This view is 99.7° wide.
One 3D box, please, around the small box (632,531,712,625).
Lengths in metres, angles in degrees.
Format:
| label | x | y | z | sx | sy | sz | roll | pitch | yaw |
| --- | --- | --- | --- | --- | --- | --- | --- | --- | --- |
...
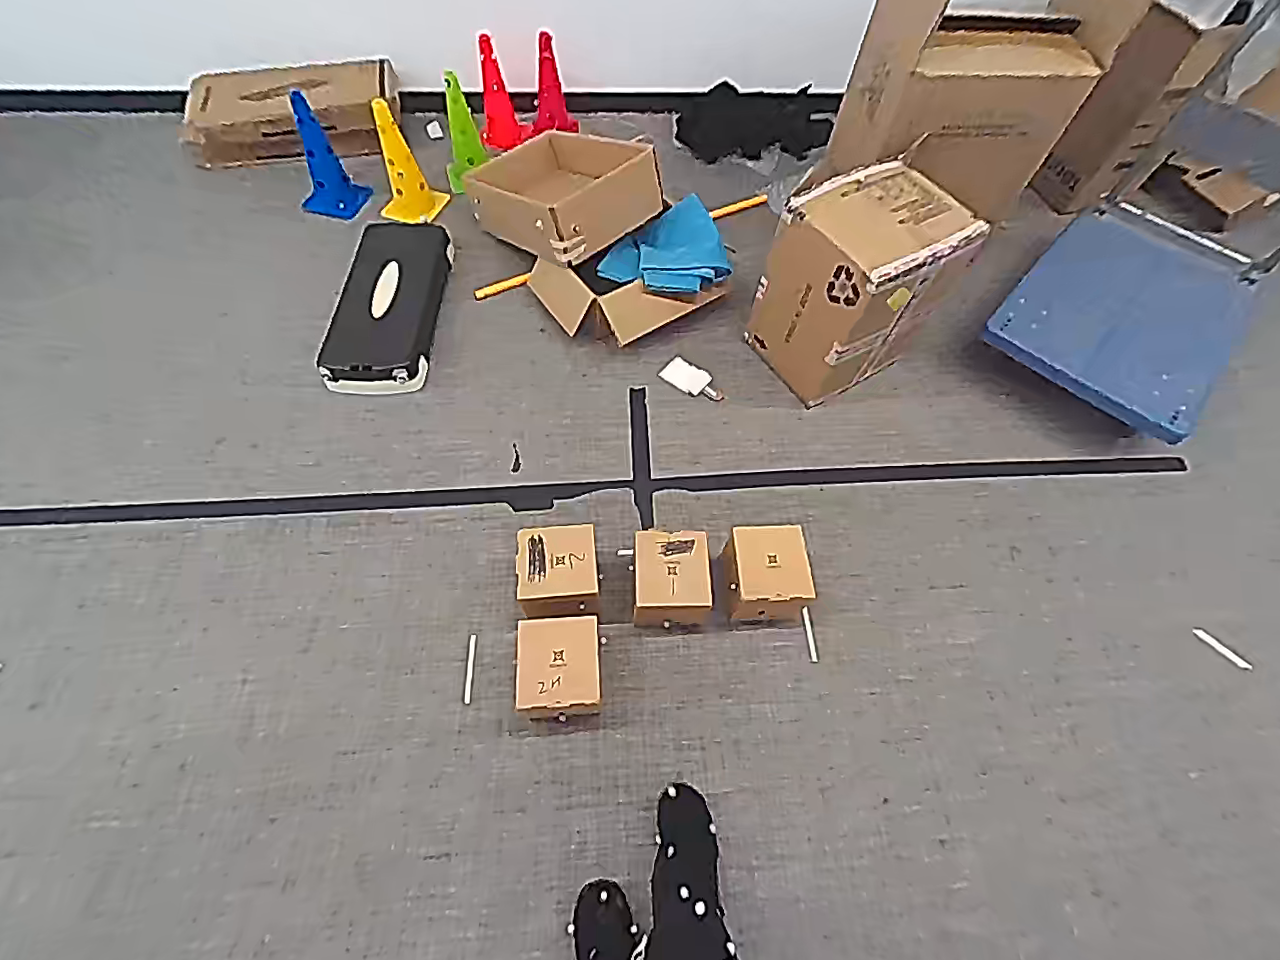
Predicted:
| label | x | y | z | sx | sy | sz | roll | pitch | yaw |
| --- | --- | --- | --- | --- | --- | --- | --- | --- | --- |
| small box | 0.067 | 0.231 | 1.263 | 0.168 | 0.176 | 0.179 | 0 | 61 | -3 |

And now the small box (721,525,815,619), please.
| label | x | y | z | sx | sy | sz | roll | pitch | yaw |
| --- | --- | --- | --- | --- | --- | --- | --- | --- | --- |
| small box | 0.293 | 0.220 | 1.283 | 0.168 | 0.176 | 0.179 | -1 | 61 | -4 |

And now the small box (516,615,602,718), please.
| label | x | y | z | sx | sy | sz | roll | pitch | yaw |
| --- | --- | --- | --- | --- | --- | --- | --- | --- | --- |
| small box | -0.167 | 0.401 | 1.155 | 0.168 | 0.176 | 0.179 | -3 | 61 | -4 |
